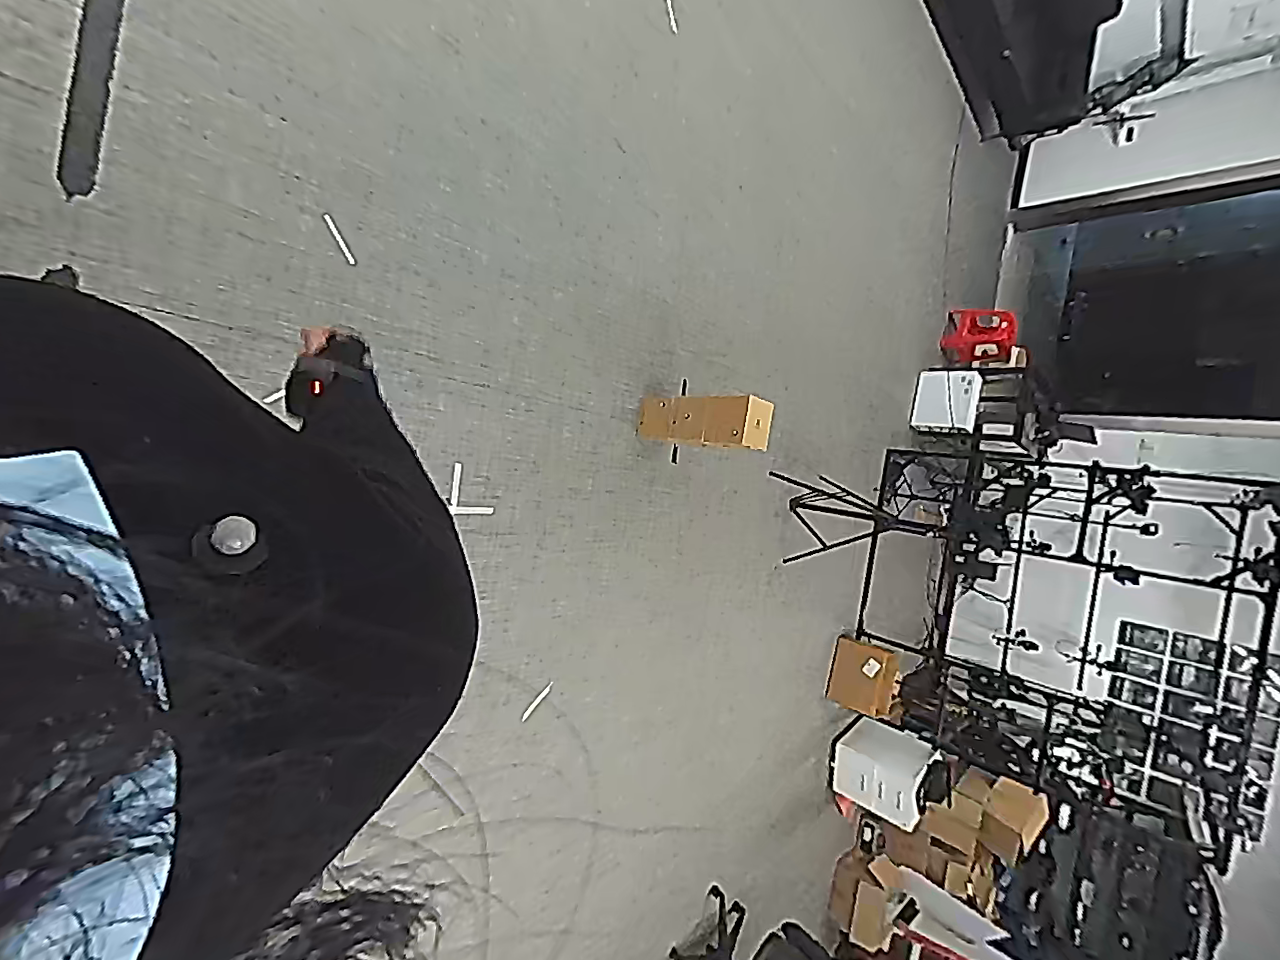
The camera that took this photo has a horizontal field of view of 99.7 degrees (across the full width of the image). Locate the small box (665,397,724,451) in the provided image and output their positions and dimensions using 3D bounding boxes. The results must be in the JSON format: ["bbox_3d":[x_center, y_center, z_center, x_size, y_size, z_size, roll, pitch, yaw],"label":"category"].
[{"bbox_3d":[0.219,-0.213,2.057,0.179,0.176,0.168,15,87,-48],"label":"small box"}]

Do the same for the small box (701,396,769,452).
[{"bbox_3d":[0.340,-0.203,1.948,0.168,0.176,0.179,9,91,-47],"label":"small box"}]
